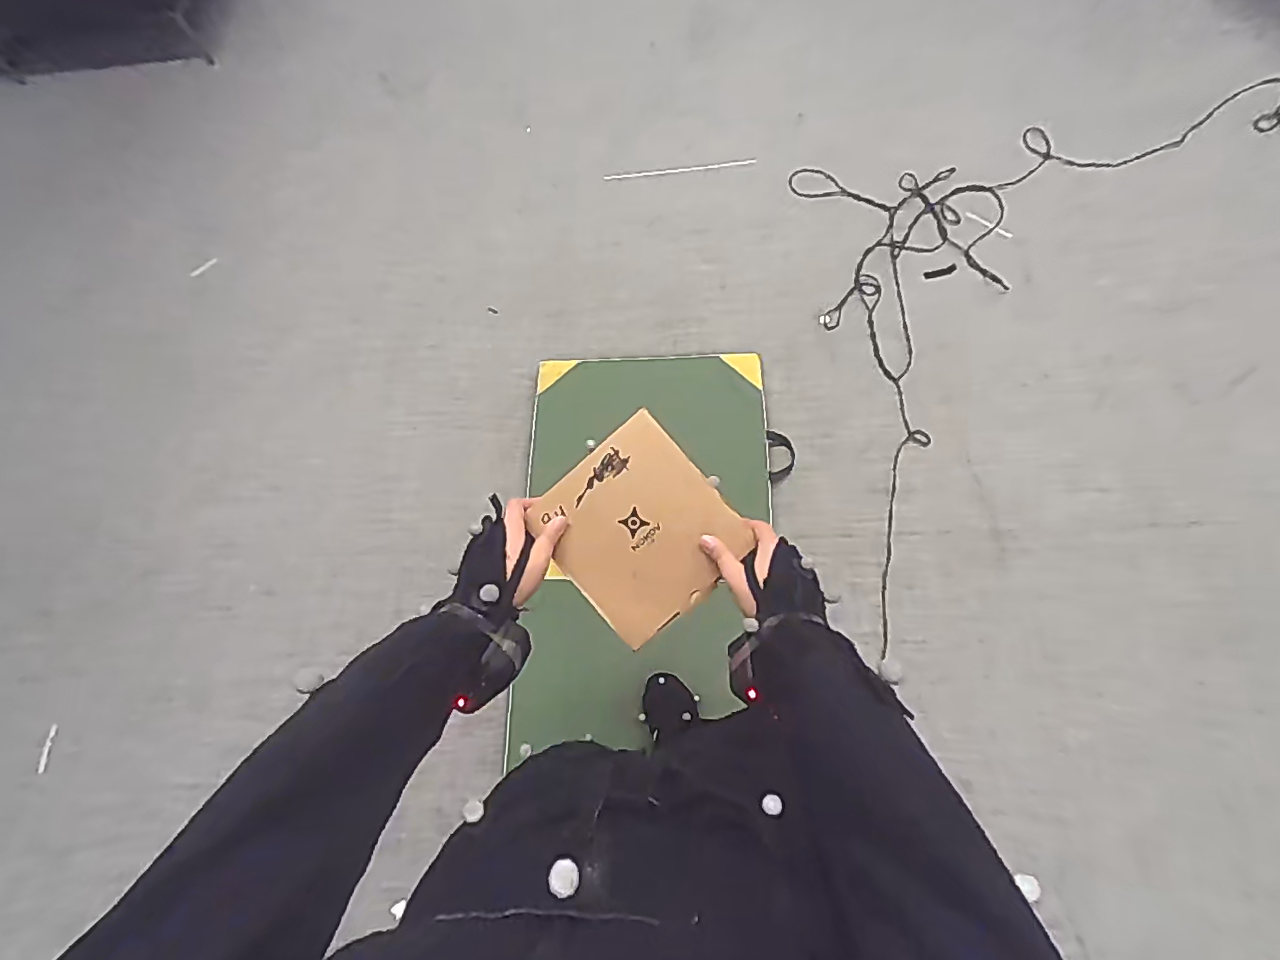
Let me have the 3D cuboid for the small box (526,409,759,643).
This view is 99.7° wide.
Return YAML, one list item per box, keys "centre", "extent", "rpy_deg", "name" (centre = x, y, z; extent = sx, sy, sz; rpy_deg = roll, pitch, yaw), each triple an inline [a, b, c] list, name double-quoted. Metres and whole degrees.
- centre: [0.006, 0.045, 0.609]
  extent: [0.168, 0.176, 0.179]
  rpy_deg: [-41, 87, 1]
  name: "small box"
